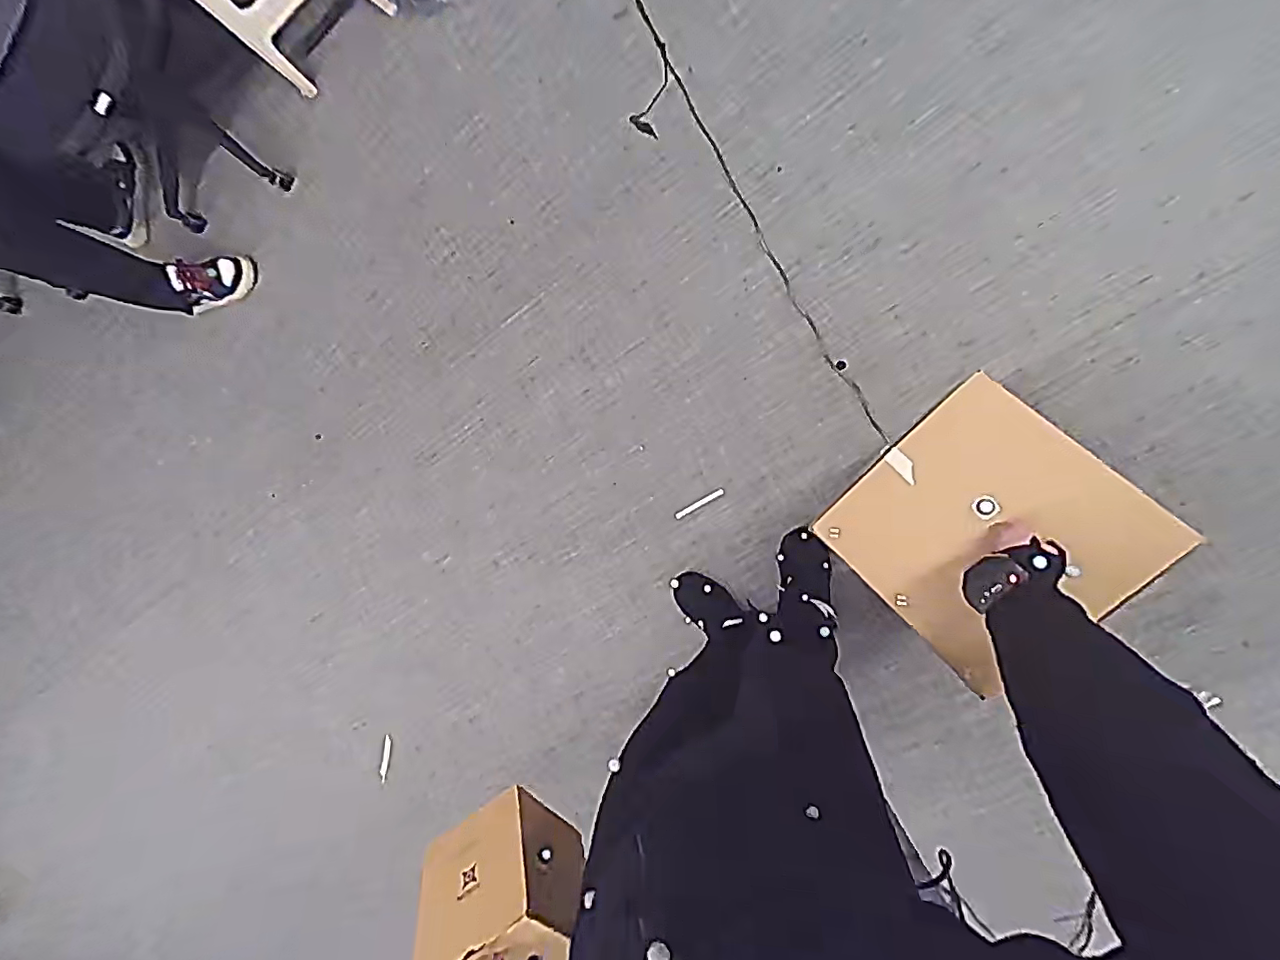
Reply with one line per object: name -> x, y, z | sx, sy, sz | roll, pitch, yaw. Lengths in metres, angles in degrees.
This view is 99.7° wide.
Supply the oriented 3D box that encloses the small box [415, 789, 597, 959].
small box -> -0.176, 0.575, 0.734 | 0.168, 0.179, 0.176 | -34, 118, 0
